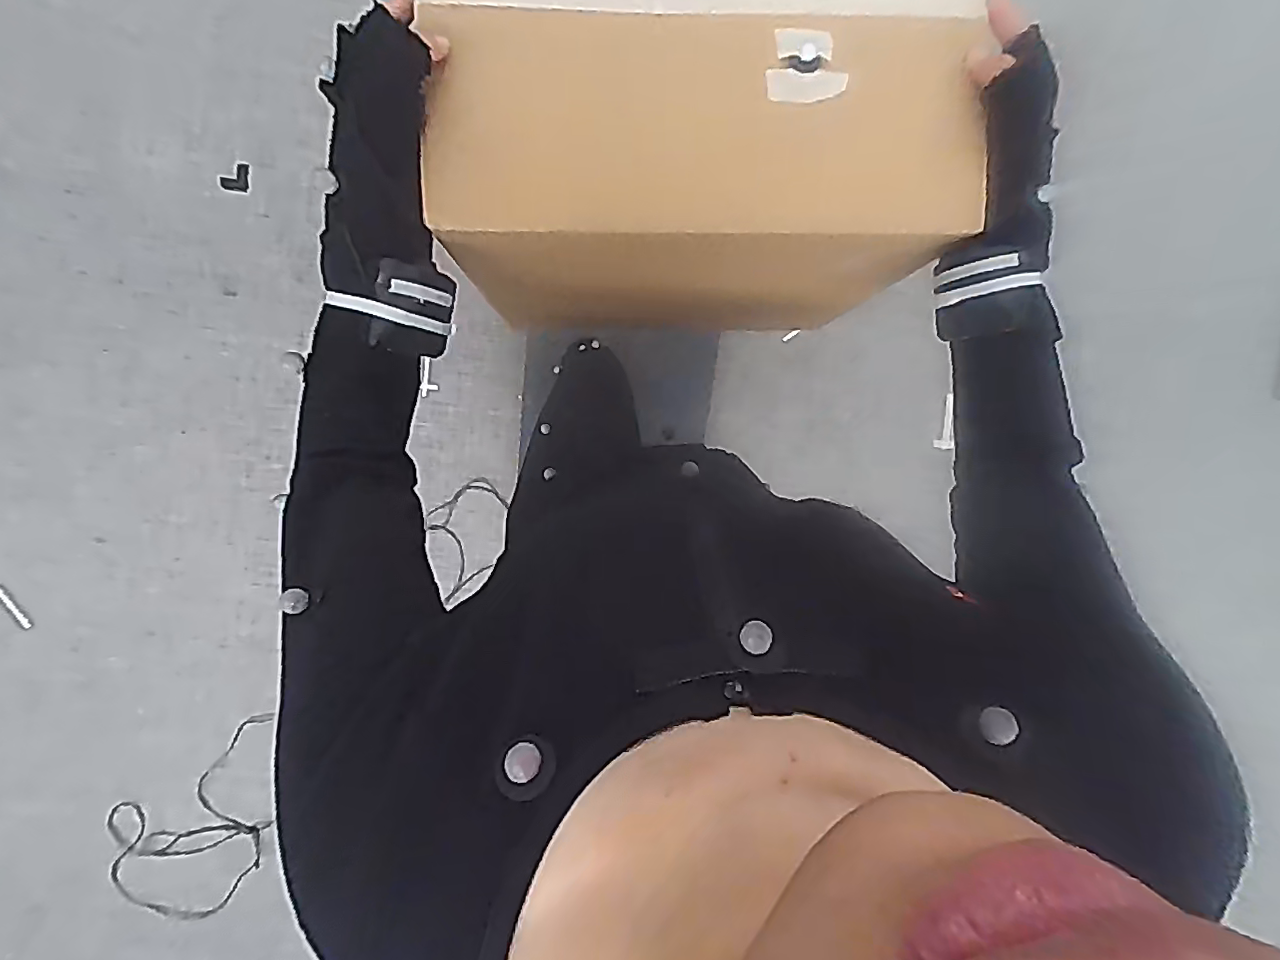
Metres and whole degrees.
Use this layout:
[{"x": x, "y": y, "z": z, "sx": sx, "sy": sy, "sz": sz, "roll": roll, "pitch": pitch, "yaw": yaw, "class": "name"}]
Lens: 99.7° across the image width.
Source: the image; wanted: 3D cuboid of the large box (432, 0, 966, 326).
[{"x": 0.037, "y": -0.350, "z": 0.545, "sx": 0.408, "sy": 0.320, "sz": 0.320, "roll": -1, "pitch": 93, "yaw": -4, "class": "large box"}]
